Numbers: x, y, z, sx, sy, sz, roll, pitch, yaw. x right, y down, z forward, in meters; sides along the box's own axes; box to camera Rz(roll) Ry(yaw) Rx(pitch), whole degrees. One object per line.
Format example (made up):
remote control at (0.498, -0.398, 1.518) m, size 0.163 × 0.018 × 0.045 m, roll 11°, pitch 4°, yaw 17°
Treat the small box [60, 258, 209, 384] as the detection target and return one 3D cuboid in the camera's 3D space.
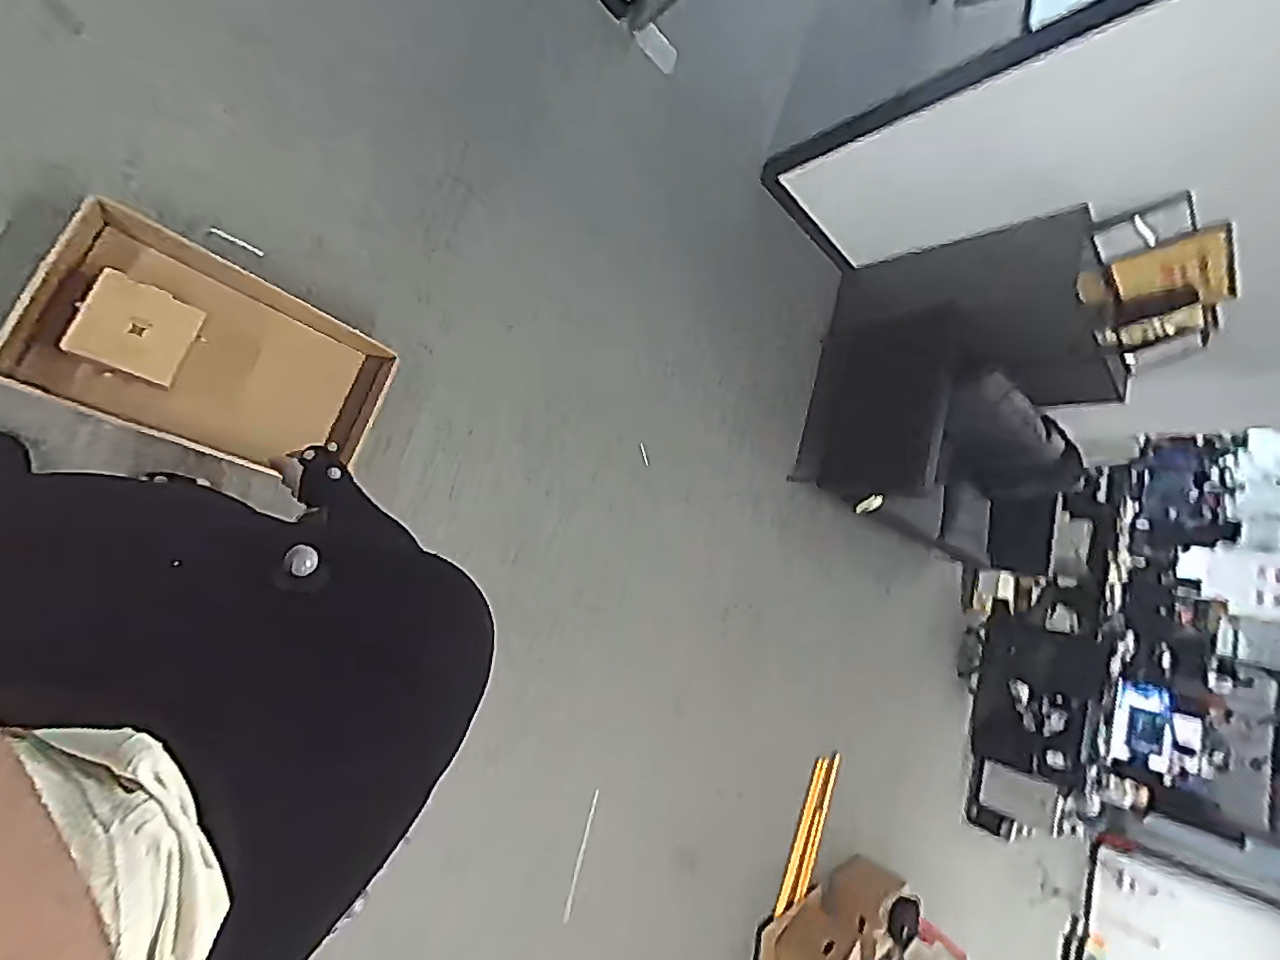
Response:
small box at (-1.024, -0.313, 1.106) m, size 0.168 × 0.176 × 0.179 m, roll 28°, pitch 75°, yaw -38°
